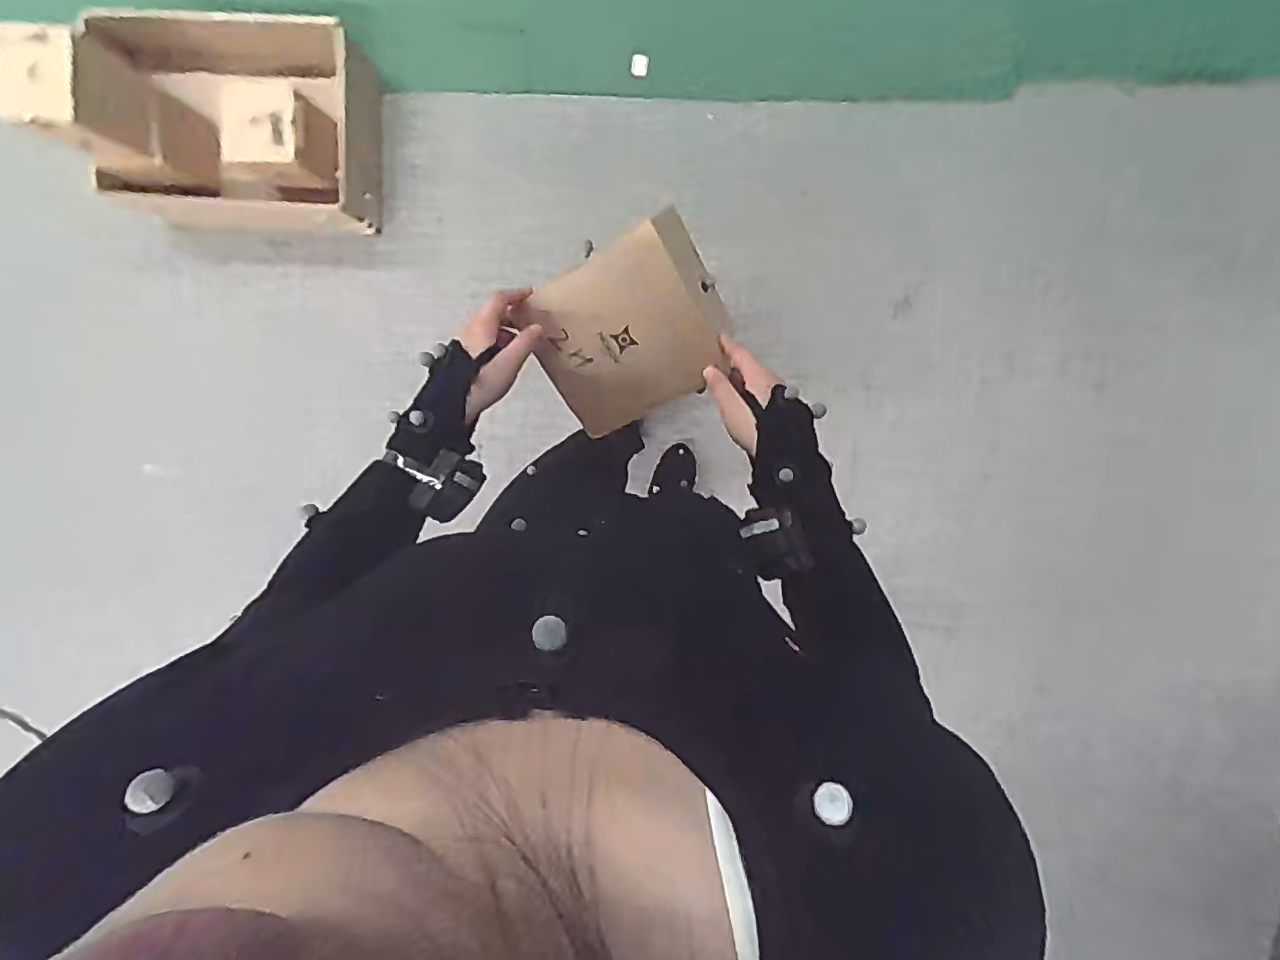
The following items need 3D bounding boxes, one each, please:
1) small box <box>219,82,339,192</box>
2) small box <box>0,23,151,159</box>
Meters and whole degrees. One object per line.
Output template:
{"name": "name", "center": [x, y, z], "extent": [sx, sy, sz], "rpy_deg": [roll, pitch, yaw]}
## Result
{"name": "small box", "center": [-0.835, -0.796, 1.269], "extent": [0.179, 0.176, 0.168], "rpy_deg": [4, 99, 4]}
{"name": "small box", "center": [-1.167, -0.796, 1.123], "extent": [0.168, 0.176, 0.179], "rpy_deg": [6, 99, 2]}
